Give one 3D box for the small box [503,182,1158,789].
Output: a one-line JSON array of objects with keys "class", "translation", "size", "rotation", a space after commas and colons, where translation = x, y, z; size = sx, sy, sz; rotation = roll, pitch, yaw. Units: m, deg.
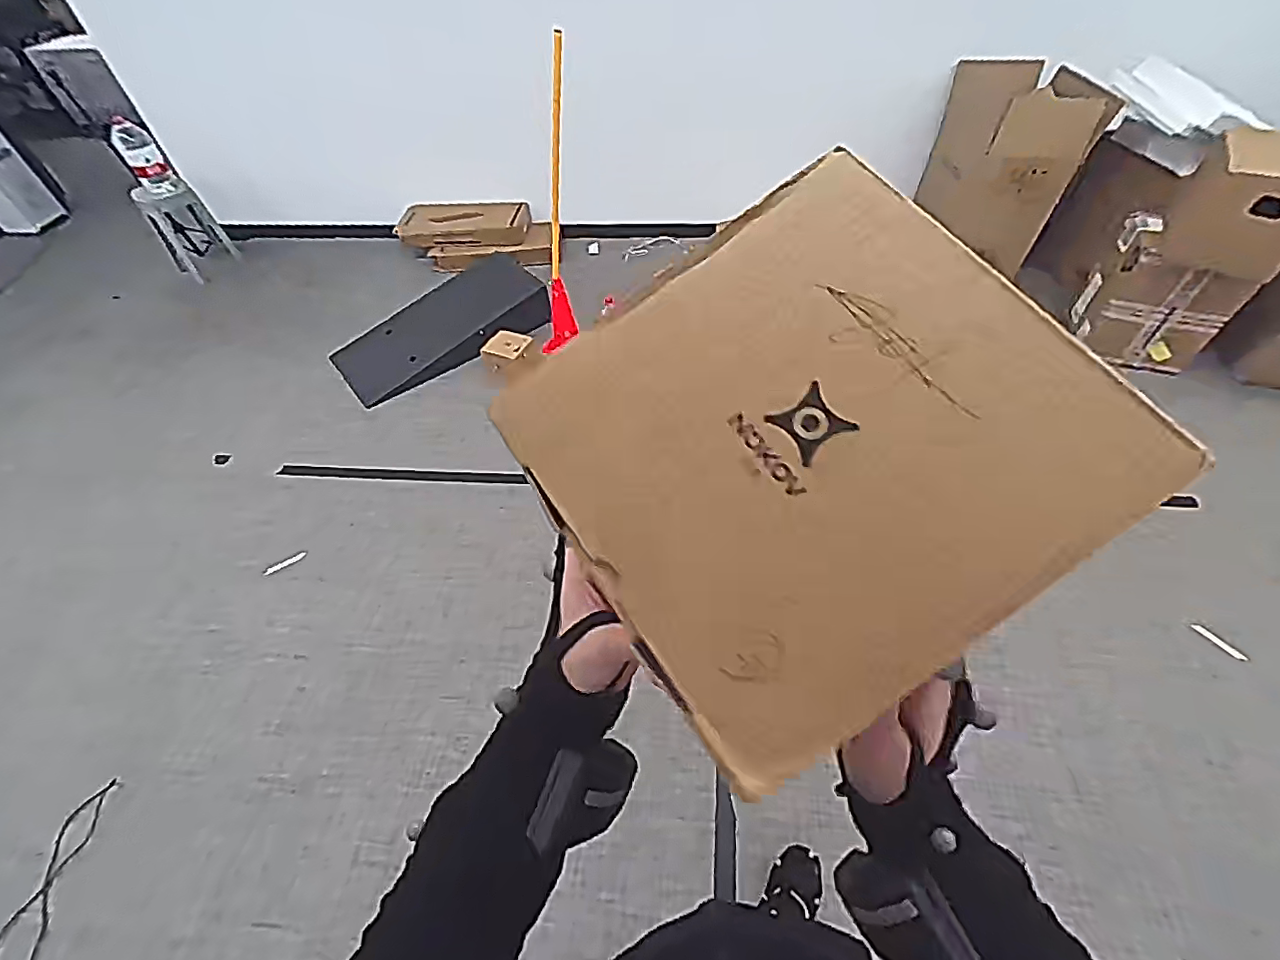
[{"class": "small box", "translation": [0.070, 0.009, 0.275], "size": [0.179, 0.176, 0.168], "rotation": [-38, 74, -1]}]
